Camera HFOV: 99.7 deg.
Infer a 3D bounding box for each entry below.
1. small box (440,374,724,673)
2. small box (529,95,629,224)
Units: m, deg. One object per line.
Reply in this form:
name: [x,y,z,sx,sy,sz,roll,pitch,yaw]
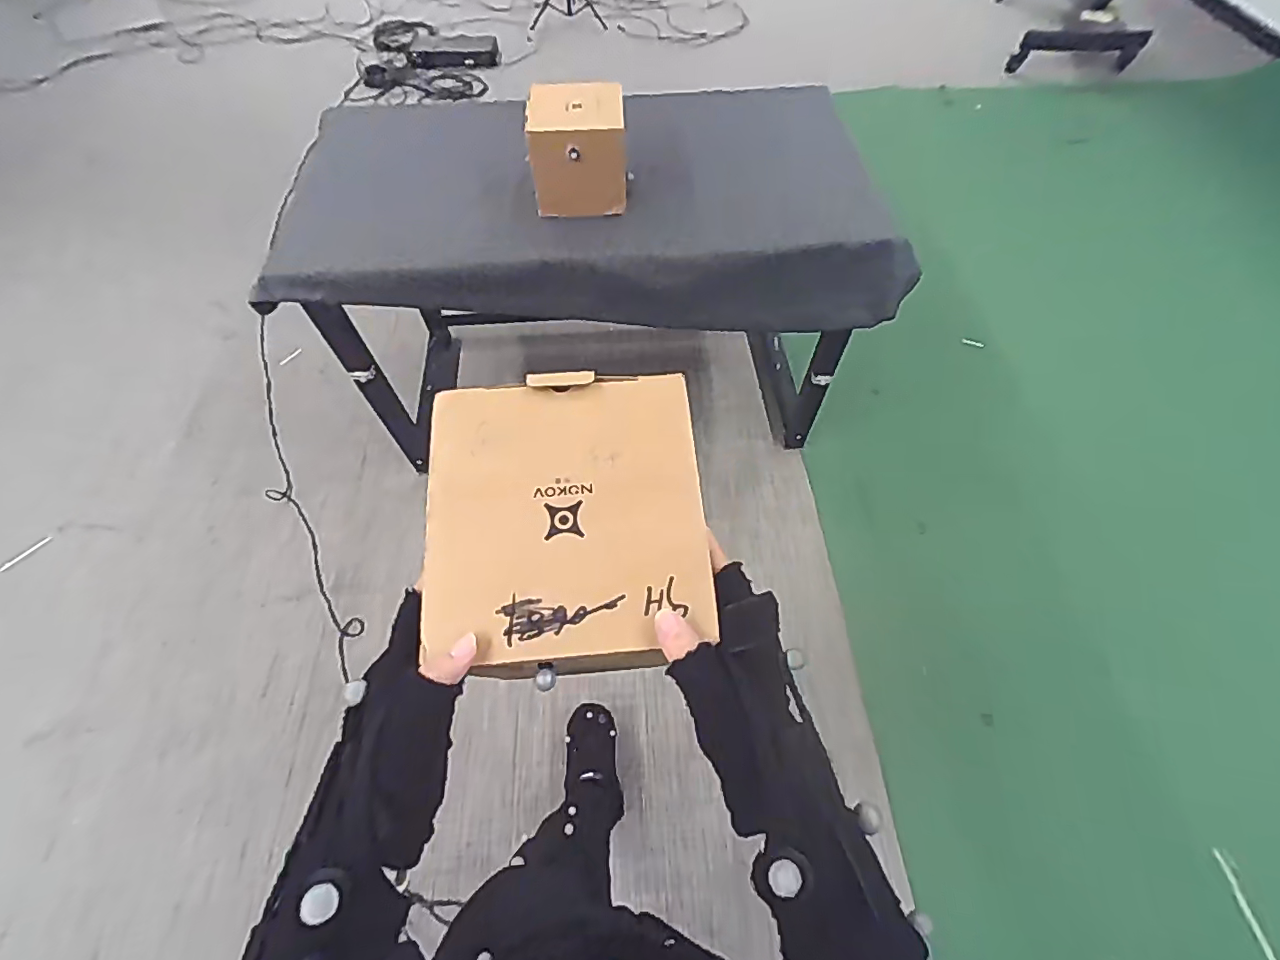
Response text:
small box: [-0.043,0.043,0.413,0.168,0.176,0.179,-6,68,-4]
small box: [-0.113,-0.627,1.067,0.179,0.176,0.168,-2,59,-2]
